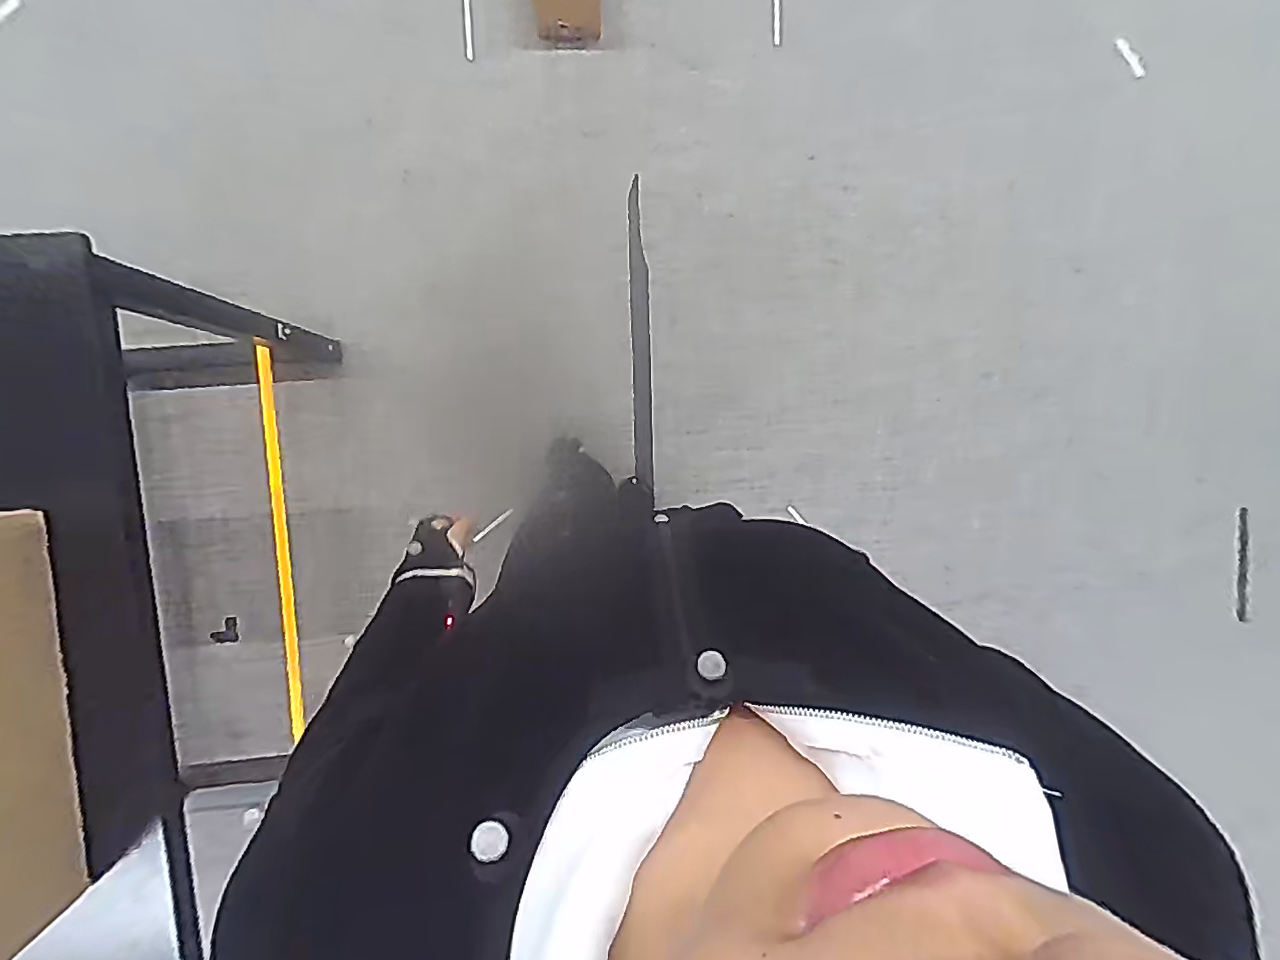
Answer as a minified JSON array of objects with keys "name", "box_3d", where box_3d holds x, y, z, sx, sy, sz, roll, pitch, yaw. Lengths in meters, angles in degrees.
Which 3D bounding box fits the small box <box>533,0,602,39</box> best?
[{"name":"small box","box_3d":[-0.178,-1.210,1.296,0.168,0.176,0.179,-4,96,-3]}]
